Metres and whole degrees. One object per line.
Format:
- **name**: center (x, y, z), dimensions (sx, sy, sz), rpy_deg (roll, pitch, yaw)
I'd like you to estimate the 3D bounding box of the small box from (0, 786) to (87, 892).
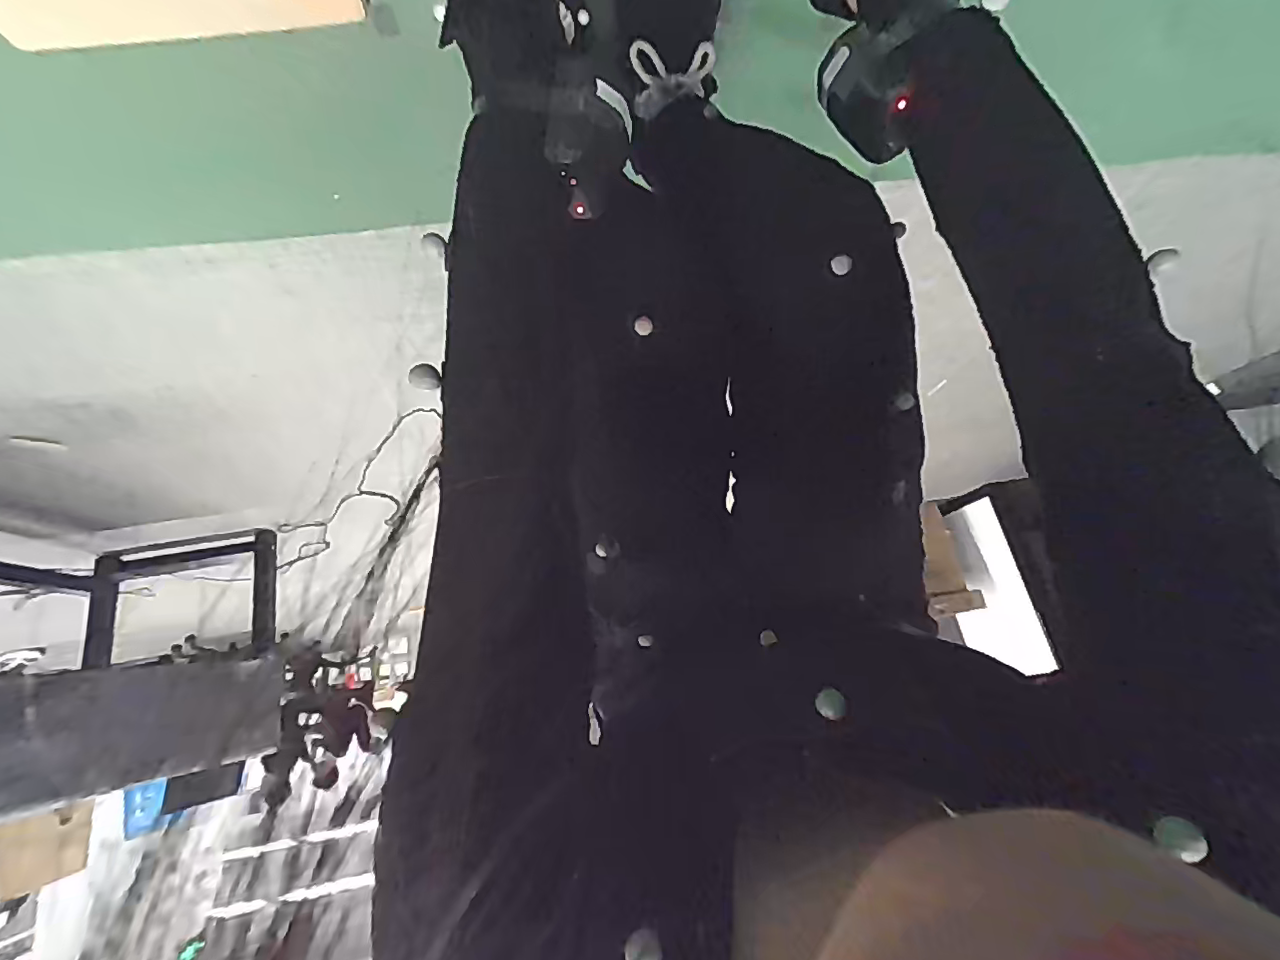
- **small box**: center (-1.370, 0.784, 1.176), dimensions (0.179, 0.176, 0.168), rpy_deg (-9, 162, -8)
